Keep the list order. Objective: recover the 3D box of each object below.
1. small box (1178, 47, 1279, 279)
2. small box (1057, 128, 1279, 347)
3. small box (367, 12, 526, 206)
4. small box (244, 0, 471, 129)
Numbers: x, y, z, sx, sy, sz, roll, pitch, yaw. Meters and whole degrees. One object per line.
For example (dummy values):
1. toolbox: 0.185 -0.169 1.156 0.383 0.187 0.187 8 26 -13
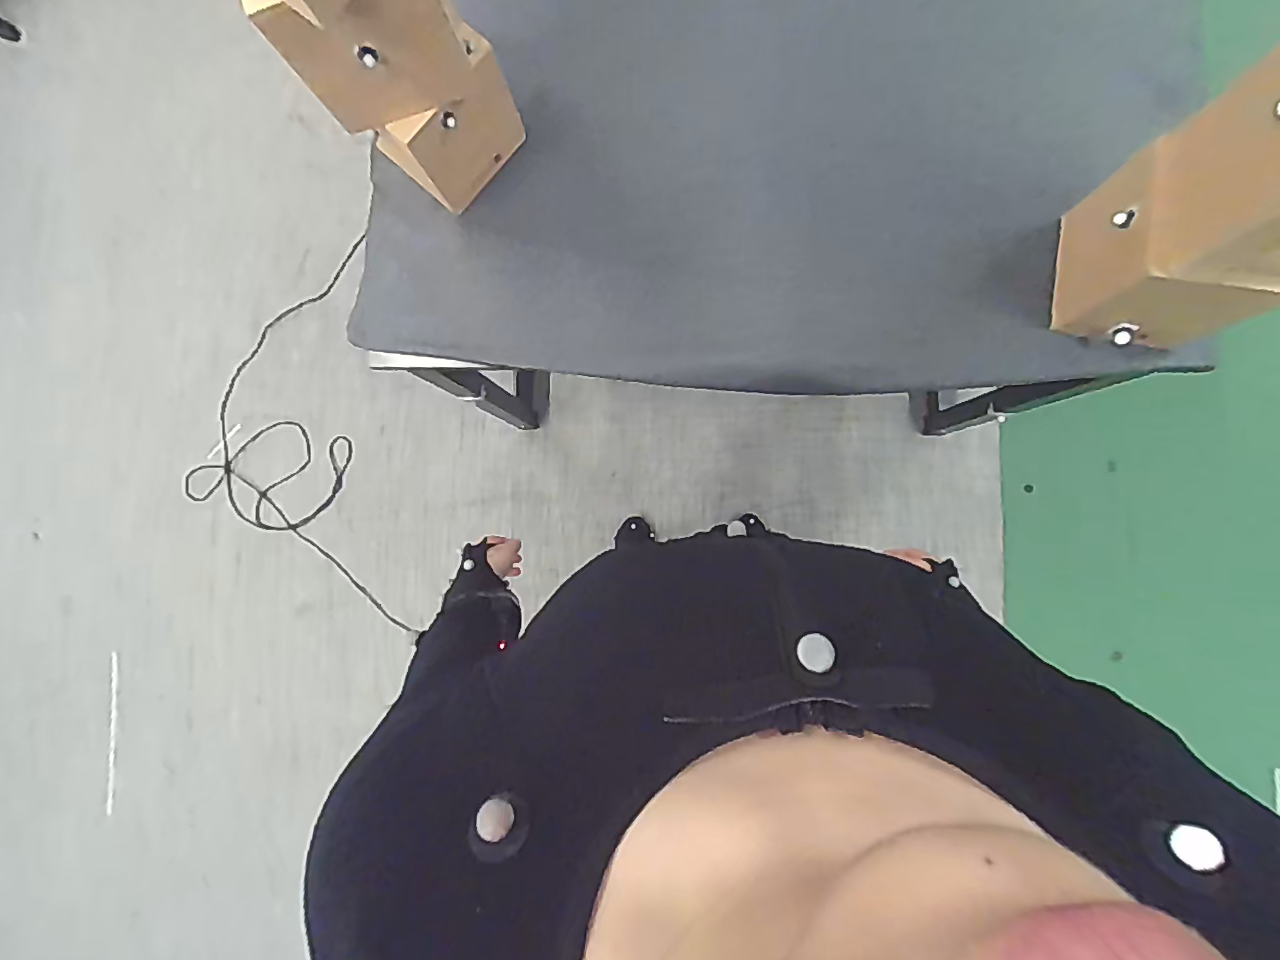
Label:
1. small box: 0.658 -0.302 0.501 0.168 0.176 0.179 8 83 6
2. small box: 0.656 -0.284 0.663 0.168 0.176 0.179 10 85 6
3. small box: -0.290 -0.527 0.750 0.179 0.176 0.168 42 90 5
4. small box: -0.302 -0.531 0.585 0.179 0.176 0.168 -17 87 3
